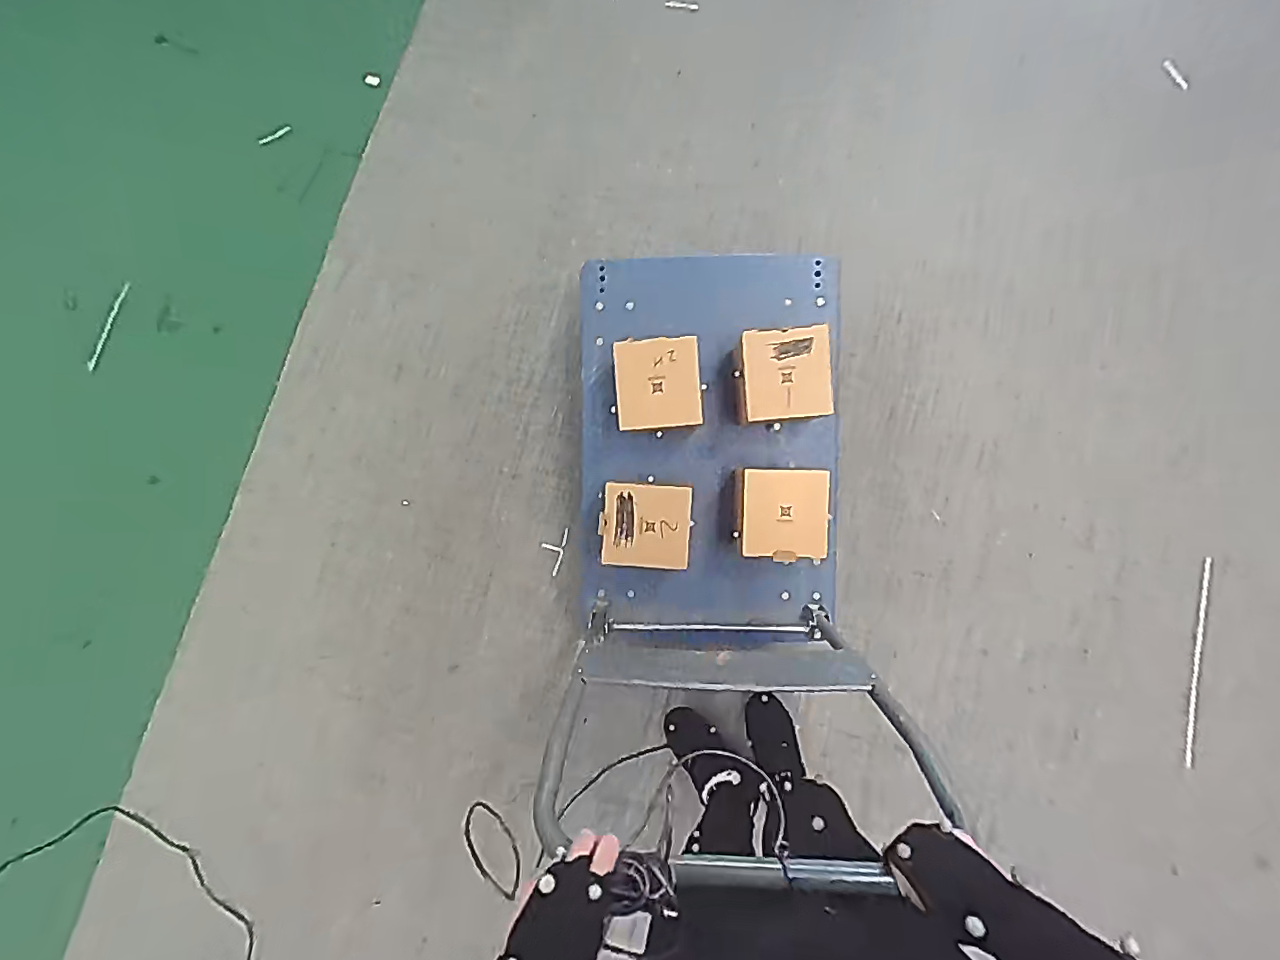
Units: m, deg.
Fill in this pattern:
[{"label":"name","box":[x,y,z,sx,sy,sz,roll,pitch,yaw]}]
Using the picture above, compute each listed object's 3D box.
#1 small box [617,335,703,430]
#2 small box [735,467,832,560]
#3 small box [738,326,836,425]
[{"label":"small box","box":[0.045,-0.196,1.136,0.168,0.176,0.179,-3,92,3]},{"label":"small box","box":[0.291,0.062,1.131,0.168,0.176,0.179,2,93,4]},{"label":"small box","box":[0.296,-0.208,1.117,0.168,0.176,0.179,-3,93,4]}]
